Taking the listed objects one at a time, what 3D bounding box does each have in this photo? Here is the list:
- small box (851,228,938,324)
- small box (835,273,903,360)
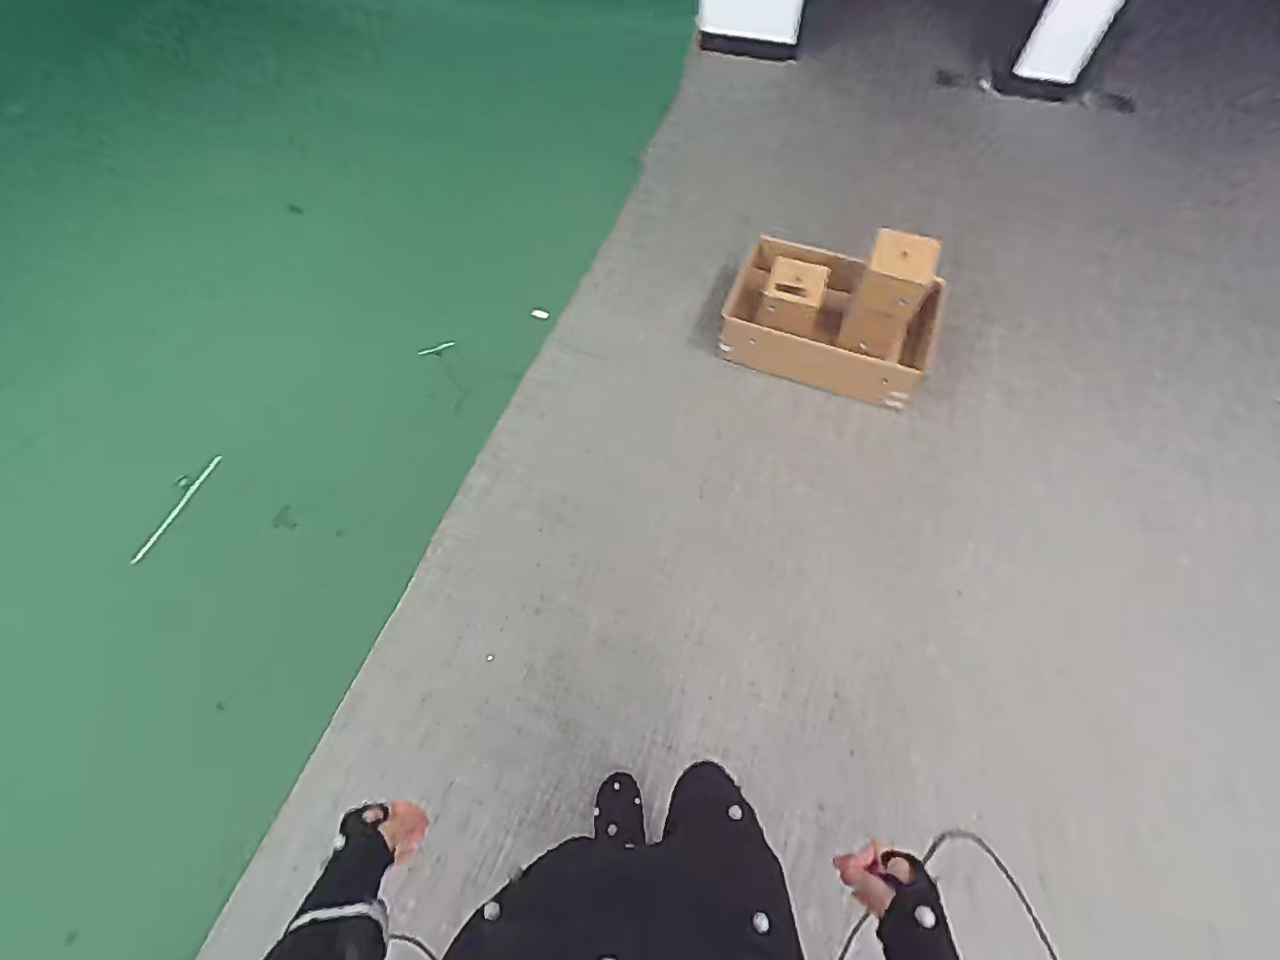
[{"bbox_3d":[0.723,-0.579,1.550,0.168,0.176,0.179,19,66,12],"label":"small box"},{"bbox_3d":[0.728,-0.511,1.698,0.168,0.176,0.179,19,66,13],"label":"small box"}]
